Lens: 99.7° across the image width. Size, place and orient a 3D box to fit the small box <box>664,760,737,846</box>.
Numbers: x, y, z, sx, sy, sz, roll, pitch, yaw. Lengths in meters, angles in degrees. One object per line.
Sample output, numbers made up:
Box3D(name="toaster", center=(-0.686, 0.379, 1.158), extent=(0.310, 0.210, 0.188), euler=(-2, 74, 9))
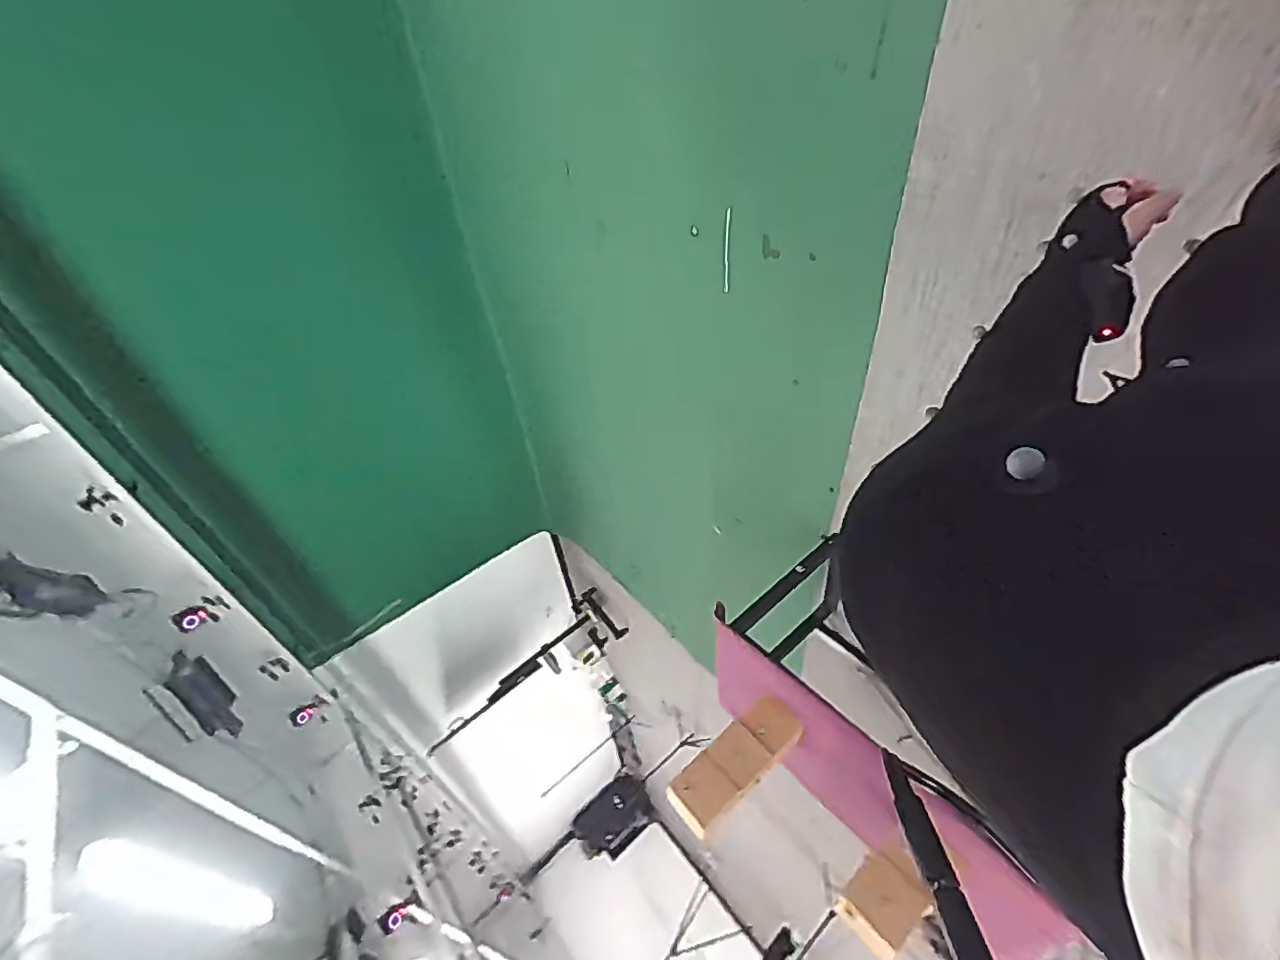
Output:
Box3D(name="small box", center=(0.200, 1.075, 1.815), extent=(0.179, 0.176, 0.168), euler=(37, 147, 33))

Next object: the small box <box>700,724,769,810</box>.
Box3D(name="small box", center=(0.327, 1.000, 1.889), extent=(0.179, 0.176, 0.168), euler=(37, 146, 32))

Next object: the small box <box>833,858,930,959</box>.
Box3D(name="small box", center=(0.677, 1.213, 1.524), extent=(0.179, 0.176, 0.168), euler=(33, 145, 39))

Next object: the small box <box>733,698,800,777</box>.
Box3D(name="small box", center=(0.451, 0.929, 1.971), extent=(0.179, 0.176, 0.168), euler=(37, 147, 33))
